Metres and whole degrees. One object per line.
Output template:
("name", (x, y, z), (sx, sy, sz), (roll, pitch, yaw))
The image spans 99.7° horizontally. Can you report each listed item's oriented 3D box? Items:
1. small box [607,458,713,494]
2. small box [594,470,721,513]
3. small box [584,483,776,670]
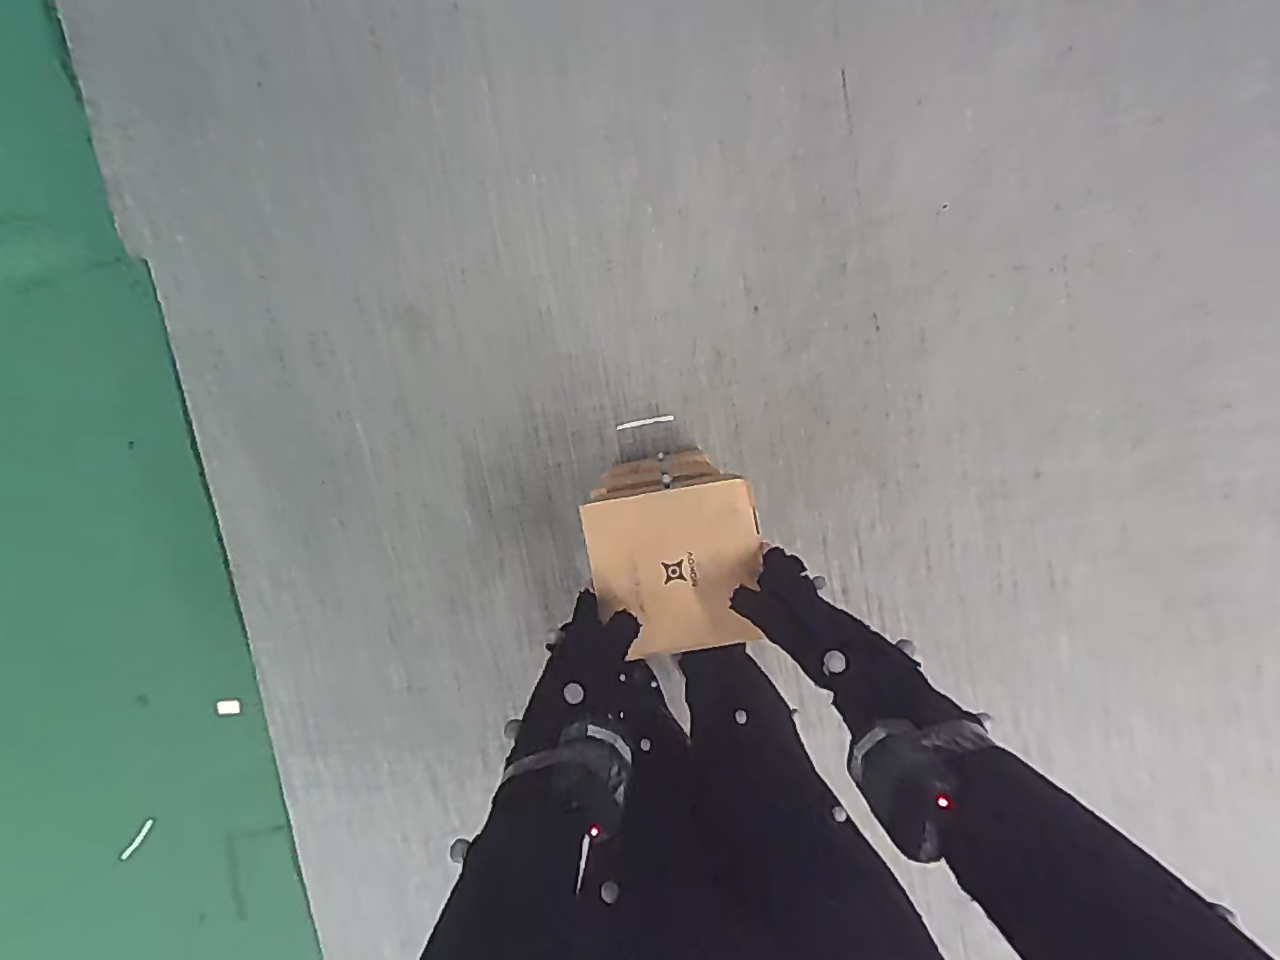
("small box", (0.048, 0.058, 0.963), (0.179, 0.176, 0.168), (-11, 94, 5))
("small box", (0.041, 0.085, 0.804), (0.179, 0.176, 0.168), (-12, 96, 5))
("small box", (0.044, 0.099, 0.628), (0.179, 0.176, 0.168), (-10, 90, 4))
